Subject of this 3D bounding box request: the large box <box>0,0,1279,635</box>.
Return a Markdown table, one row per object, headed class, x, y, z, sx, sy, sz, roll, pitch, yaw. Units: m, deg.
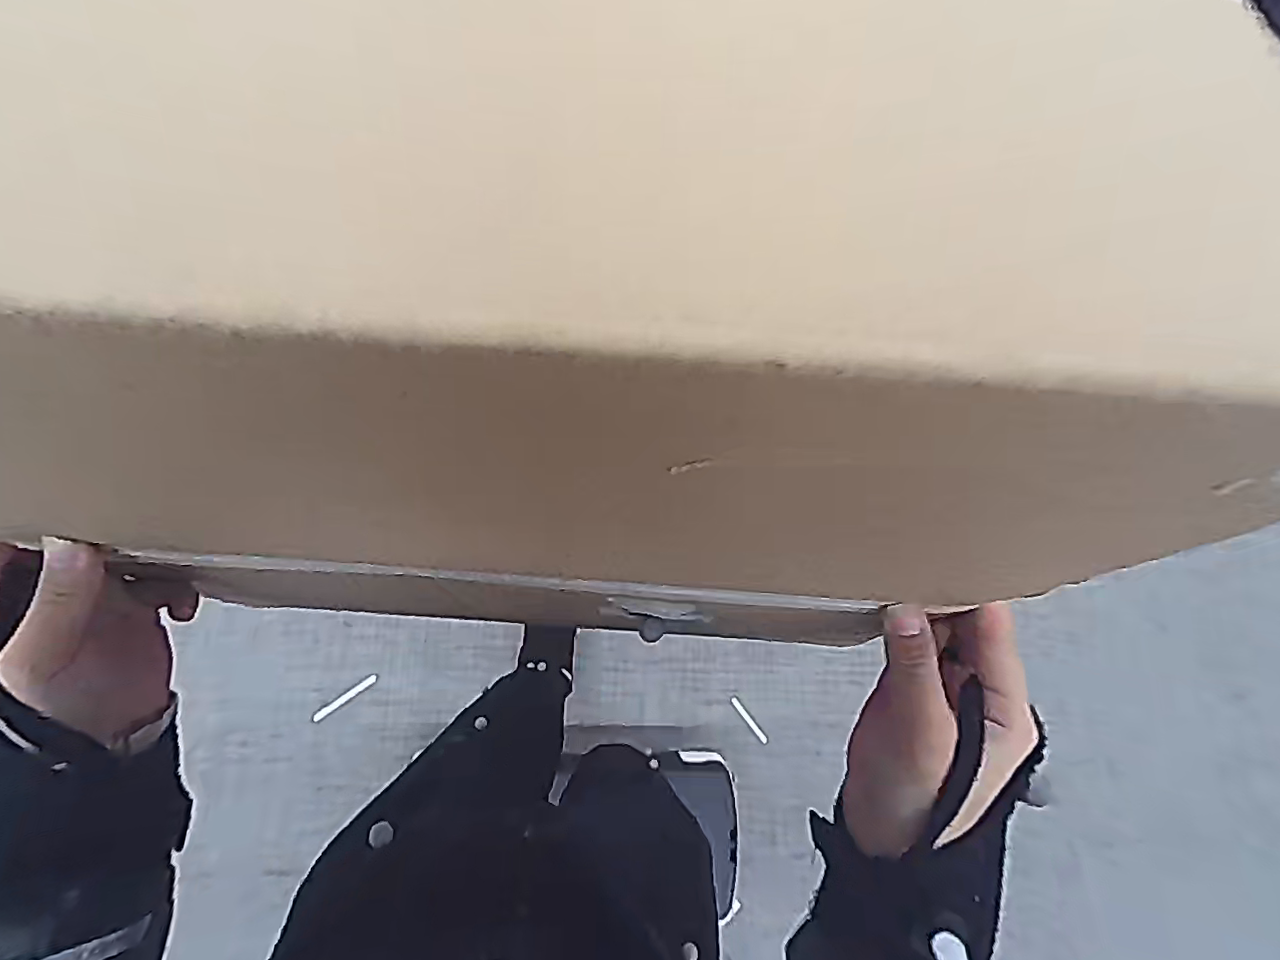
| class | x | y | z | sx | sy | sz | roll | pitch | yaw |
| --- | --- | --- | --- | --- | --- | --- | --- | --- | --- |
| large box | -0.053 | -0.103 | 0.297 | 0.408 | 0.320 | 0.320 | 3 | 68 | -1 |
